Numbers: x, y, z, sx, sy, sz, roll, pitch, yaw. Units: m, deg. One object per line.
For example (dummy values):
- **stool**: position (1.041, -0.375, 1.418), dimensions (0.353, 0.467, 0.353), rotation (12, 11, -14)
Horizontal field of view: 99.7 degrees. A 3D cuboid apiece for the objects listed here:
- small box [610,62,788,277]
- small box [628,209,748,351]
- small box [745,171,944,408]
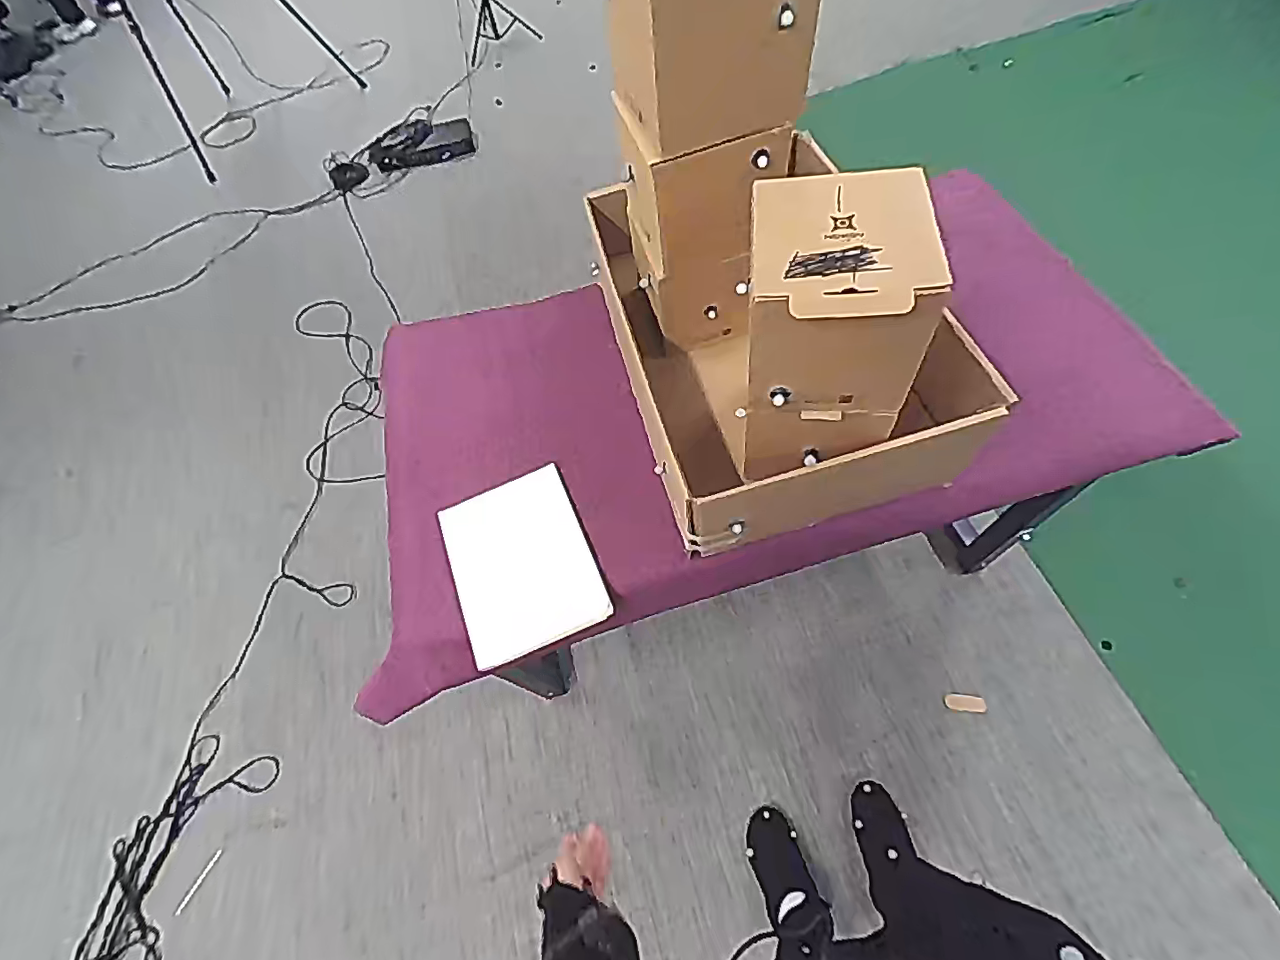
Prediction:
- **small box**: position (0.076, -0.402, 0.718), dimensions (0.179, 0.176, 0.168), rotation (-18, 62, -2)
- **small box**: position (0.090, -0.327, 0.861), dimensions (0.168, 0.176, 0.179), rotation (-16, 62, -1)
- **small box**: position (0.199, -0.190, 0.575), dimensions (0.168, 0.176, 0.179), rotation (1, 60, 11)
